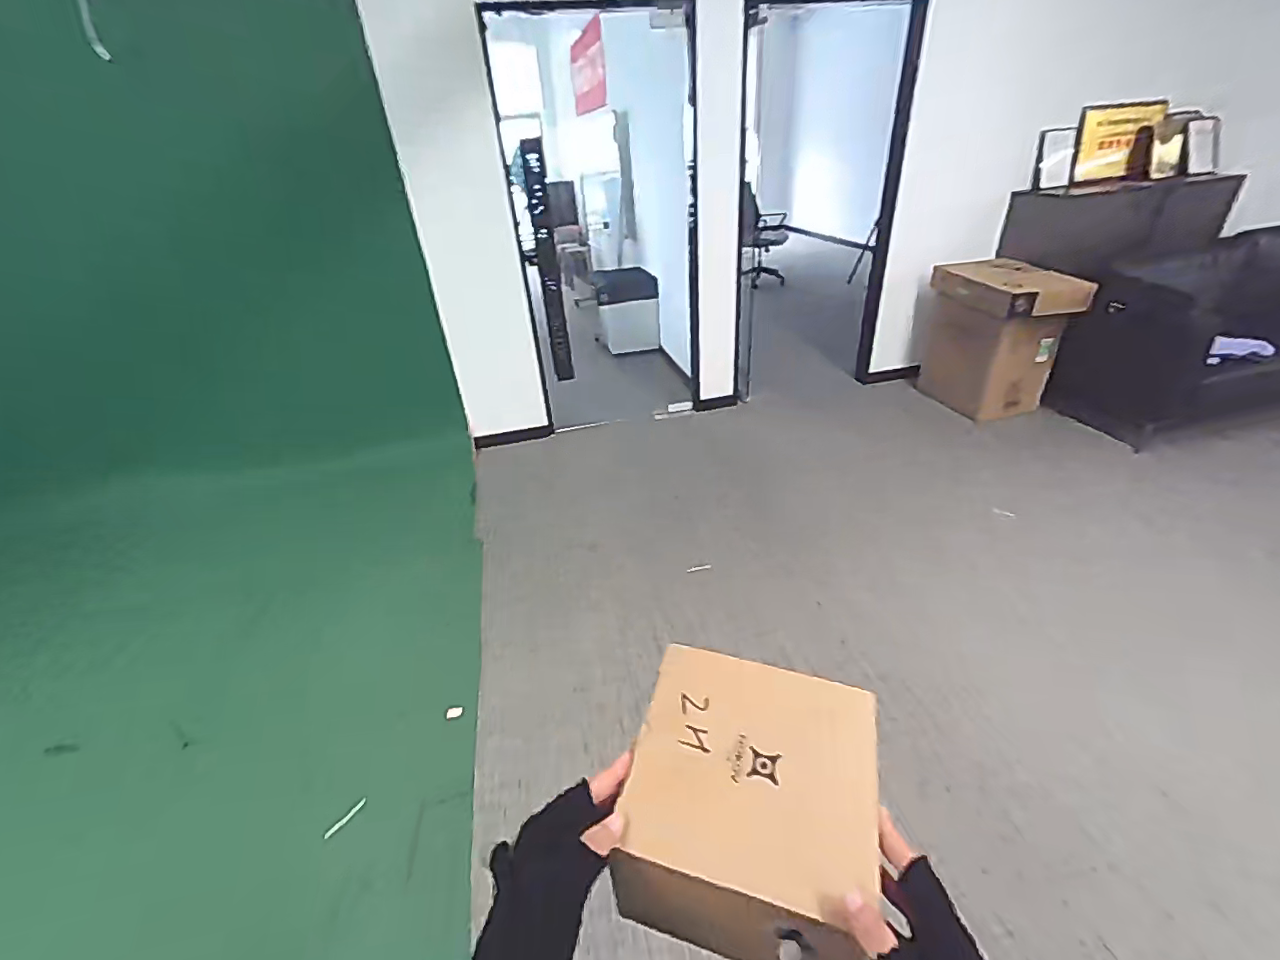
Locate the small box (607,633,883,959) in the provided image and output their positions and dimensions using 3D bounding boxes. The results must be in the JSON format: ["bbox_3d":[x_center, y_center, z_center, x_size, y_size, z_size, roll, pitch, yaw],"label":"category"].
[{"bbox_3d":[0.088,0.261,0.447,0.179,0.176,0.168,9,40,16],"label":"small box"}]
